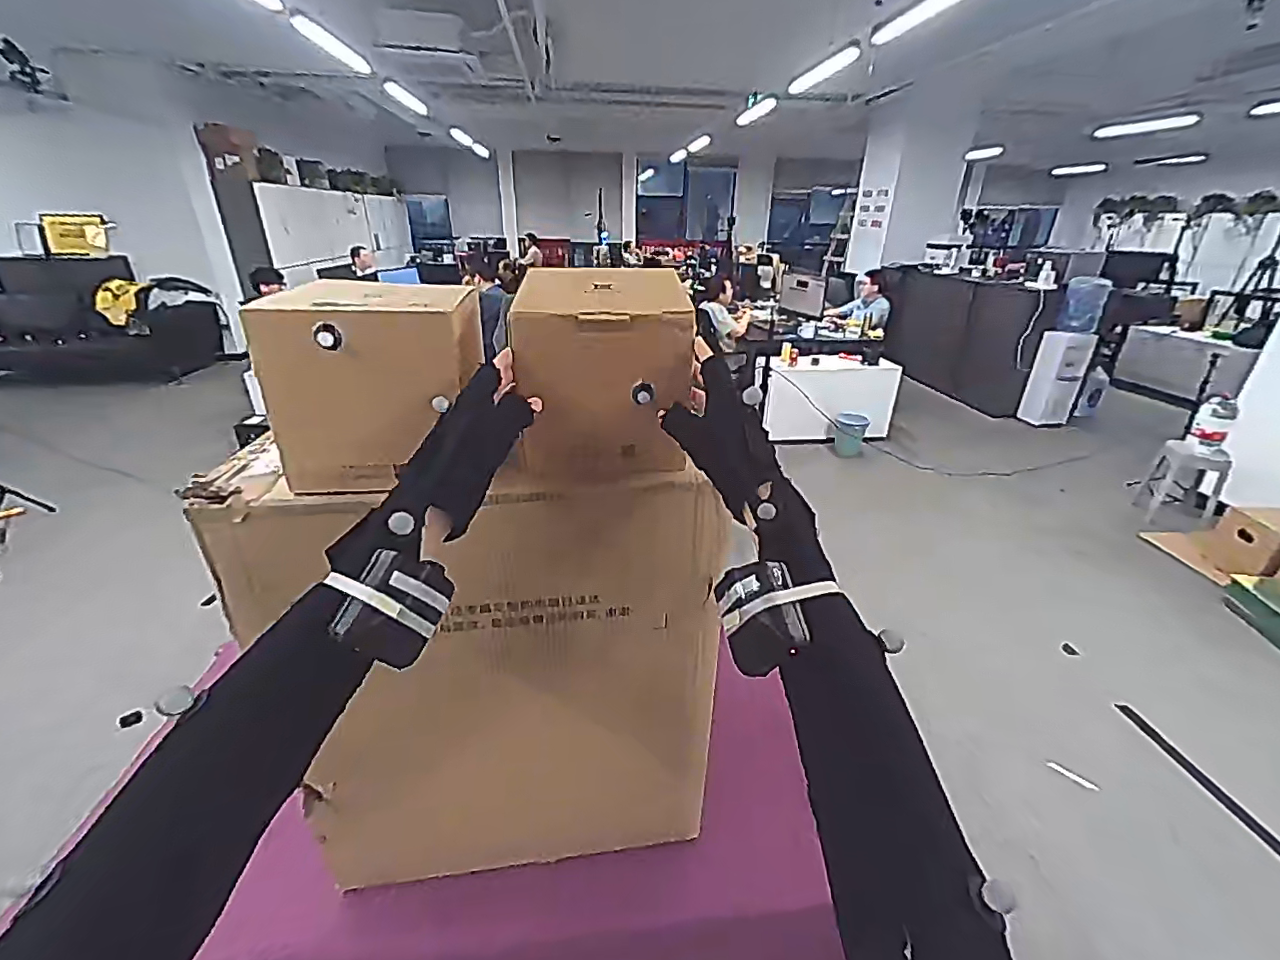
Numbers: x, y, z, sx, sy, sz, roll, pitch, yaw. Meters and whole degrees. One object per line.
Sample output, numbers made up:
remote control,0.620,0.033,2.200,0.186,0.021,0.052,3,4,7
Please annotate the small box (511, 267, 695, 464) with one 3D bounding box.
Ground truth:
small box,-0.037,-0.126,0.582,0.168,0.176,0.179,-1,30,-5

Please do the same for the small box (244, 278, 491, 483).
small box,-0.247,-0.106,0.543,0.168,0.176,0.179,-3,25,-8
